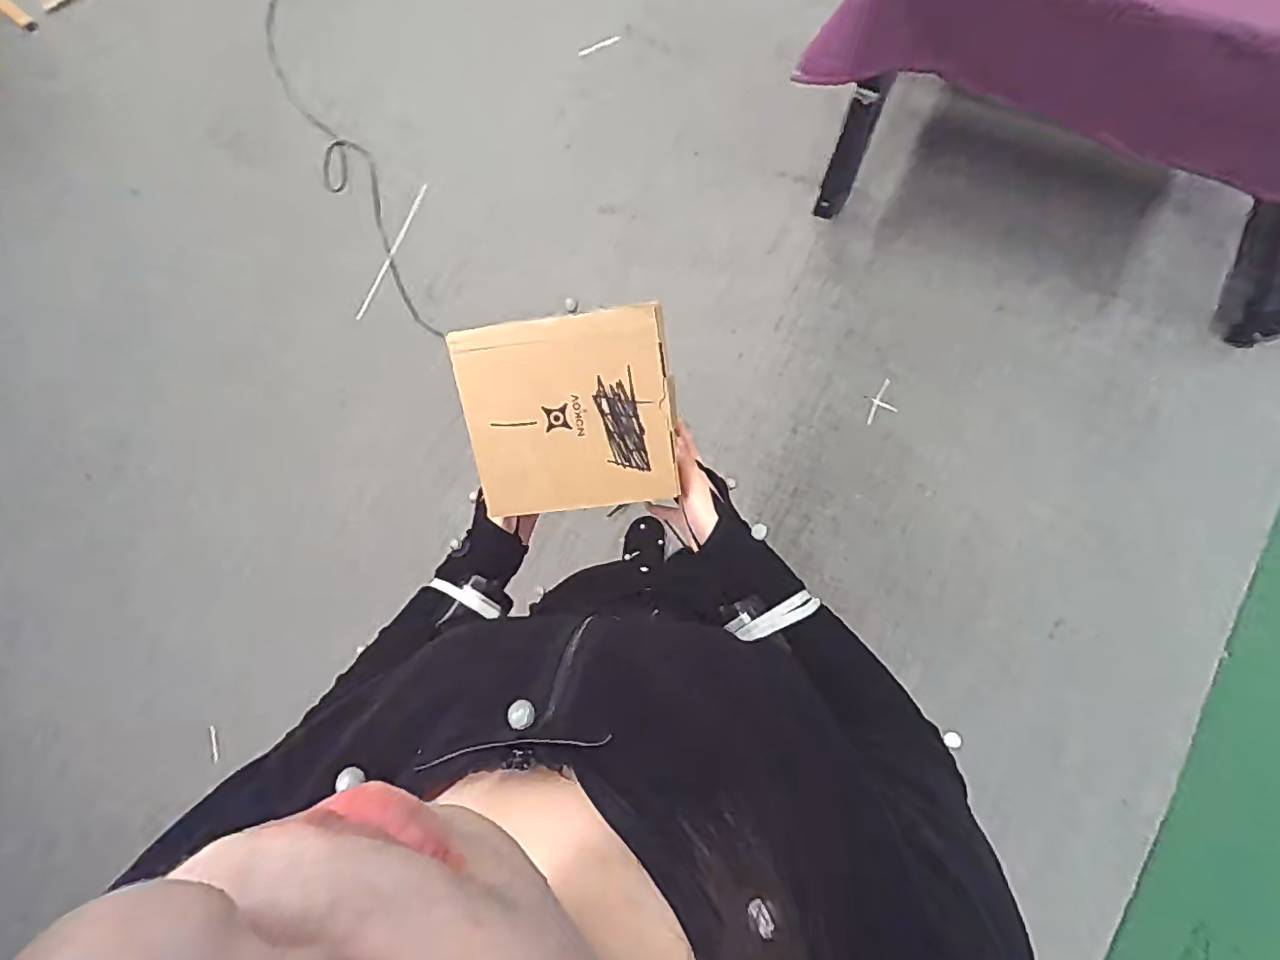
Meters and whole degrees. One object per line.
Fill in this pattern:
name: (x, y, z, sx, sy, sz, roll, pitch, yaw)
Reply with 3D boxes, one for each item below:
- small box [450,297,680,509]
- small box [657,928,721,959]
small box: (-0.055, -0.083, 0.529, 0.179, 0.176, 0.168, -5, 109, 6)
small box: (0.092, 1.015, 1.017, 0.168, 0.176, 0.179, 32, 90, 10)
